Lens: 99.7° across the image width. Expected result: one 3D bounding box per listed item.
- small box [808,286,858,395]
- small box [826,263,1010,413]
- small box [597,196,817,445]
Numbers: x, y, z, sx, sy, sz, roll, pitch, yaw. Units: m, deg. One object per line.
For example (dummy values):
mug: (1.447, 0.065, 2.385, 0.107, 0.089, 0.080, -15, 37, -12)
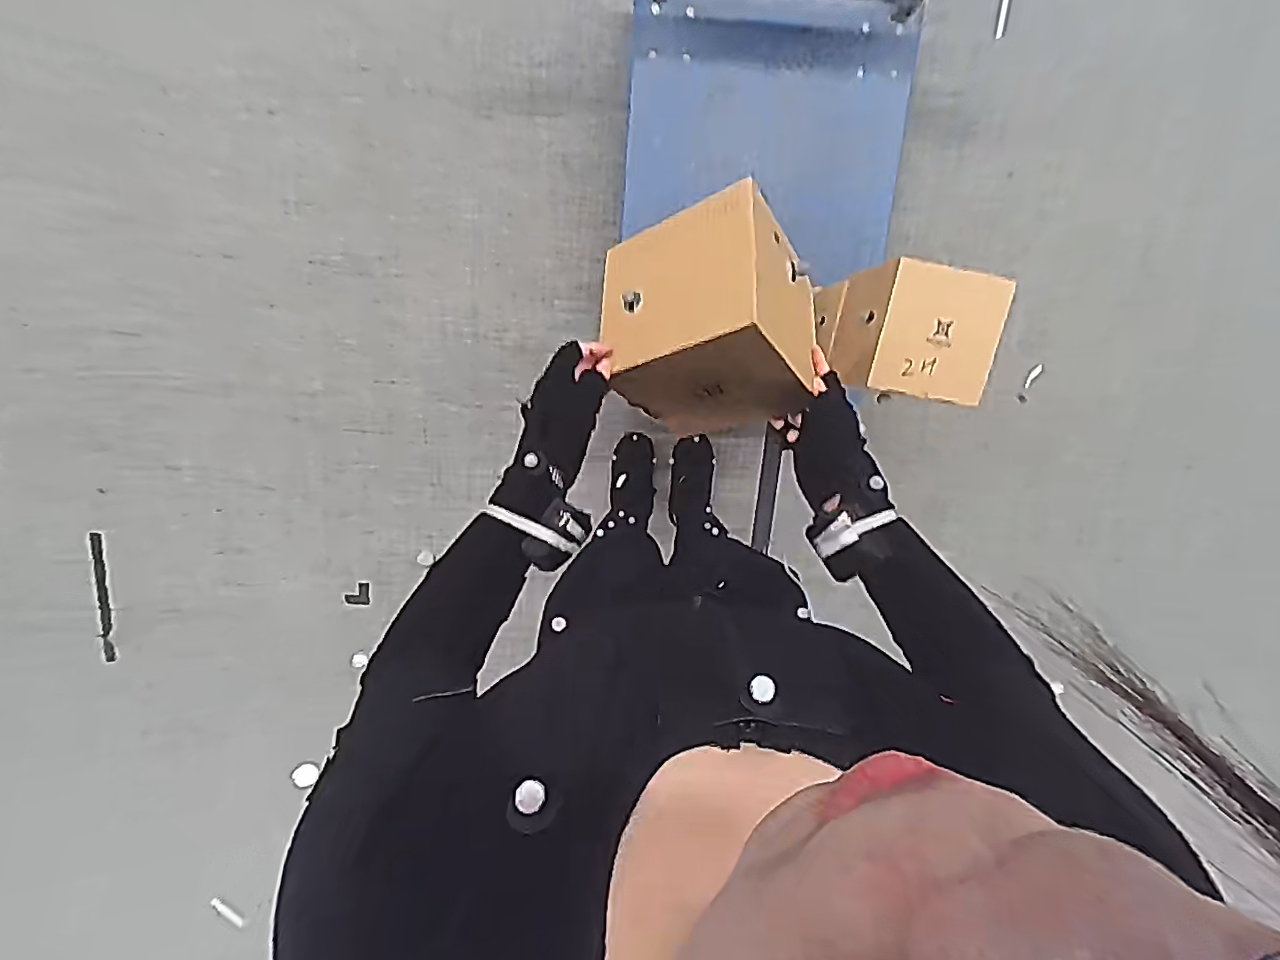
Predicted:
small box: (0.400, -0.242, 0.982, 0.179, 0.176, 0.168, 9, 102, -4)
small box: (0.403, -0.209, 0.820, 0.168, 0.176, 0.179, 11, 102, -3)
small box: (0.076, -0.158, 0.585, 0.179, 0.168, 0.176, -13, 66, 35)
